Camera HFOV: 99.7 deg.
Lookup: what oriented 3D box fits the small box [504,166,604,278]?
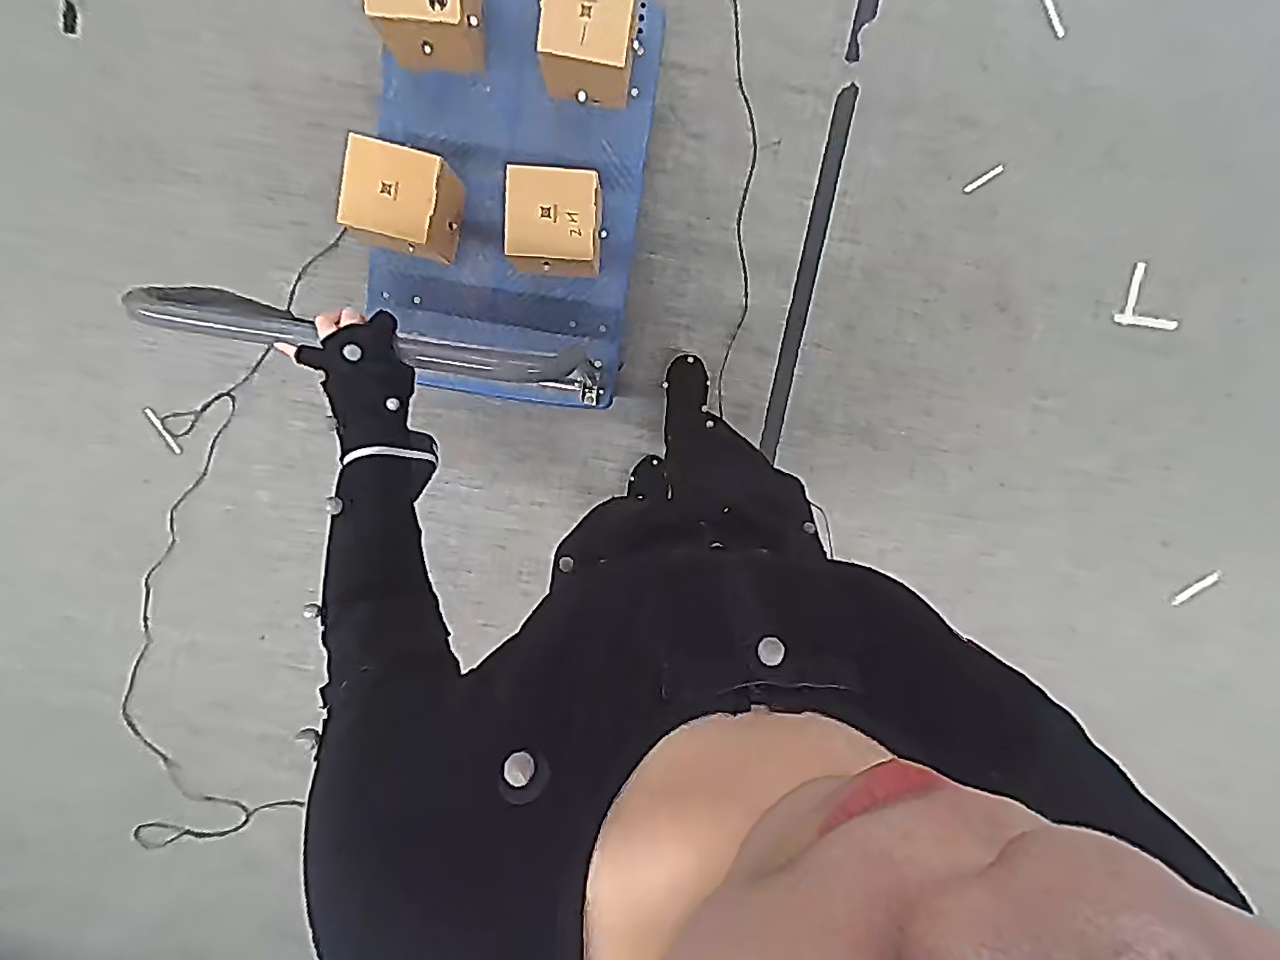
[{"bbox_3d":[-0.171,-0.522,1.116,0.179,0.176,0.168,4,100,-1],"label":"small box"}]

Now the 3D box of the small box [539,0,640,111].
[{"bbox_3d":[-0.094,-0.870,1.059,0.168,0.176,0.179,9,100,-2],"label":"small box"}]

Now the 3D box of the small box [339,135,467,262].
[{"bbox_3d":[-0.476,-0.563,1.106,0.179,0.176,0.168,13,99,-4],"label":"small box"}]
